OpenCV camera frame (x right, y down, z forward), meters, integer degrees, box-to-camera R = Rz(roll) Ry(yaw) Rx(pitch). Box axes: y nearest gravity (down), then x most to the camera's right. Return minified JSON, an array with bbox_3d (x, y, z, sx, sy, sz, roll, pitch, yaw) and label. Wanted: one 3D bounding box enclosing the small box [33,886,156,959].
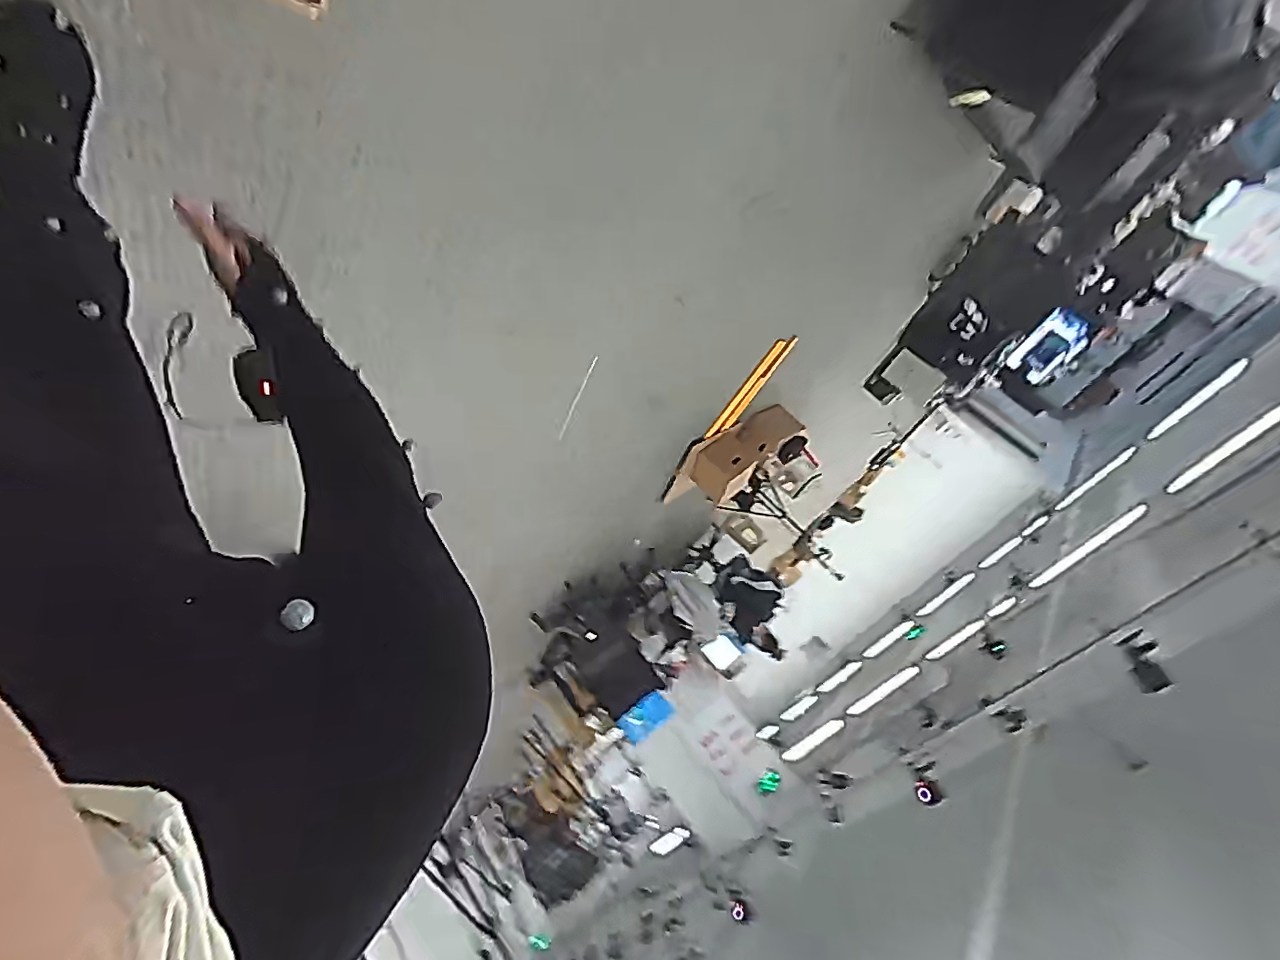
[{"bbox_3d":[-1.308,1.128,1.302,0.168,0.176,0.179,-22,150,-45],"label":"small box"}]
